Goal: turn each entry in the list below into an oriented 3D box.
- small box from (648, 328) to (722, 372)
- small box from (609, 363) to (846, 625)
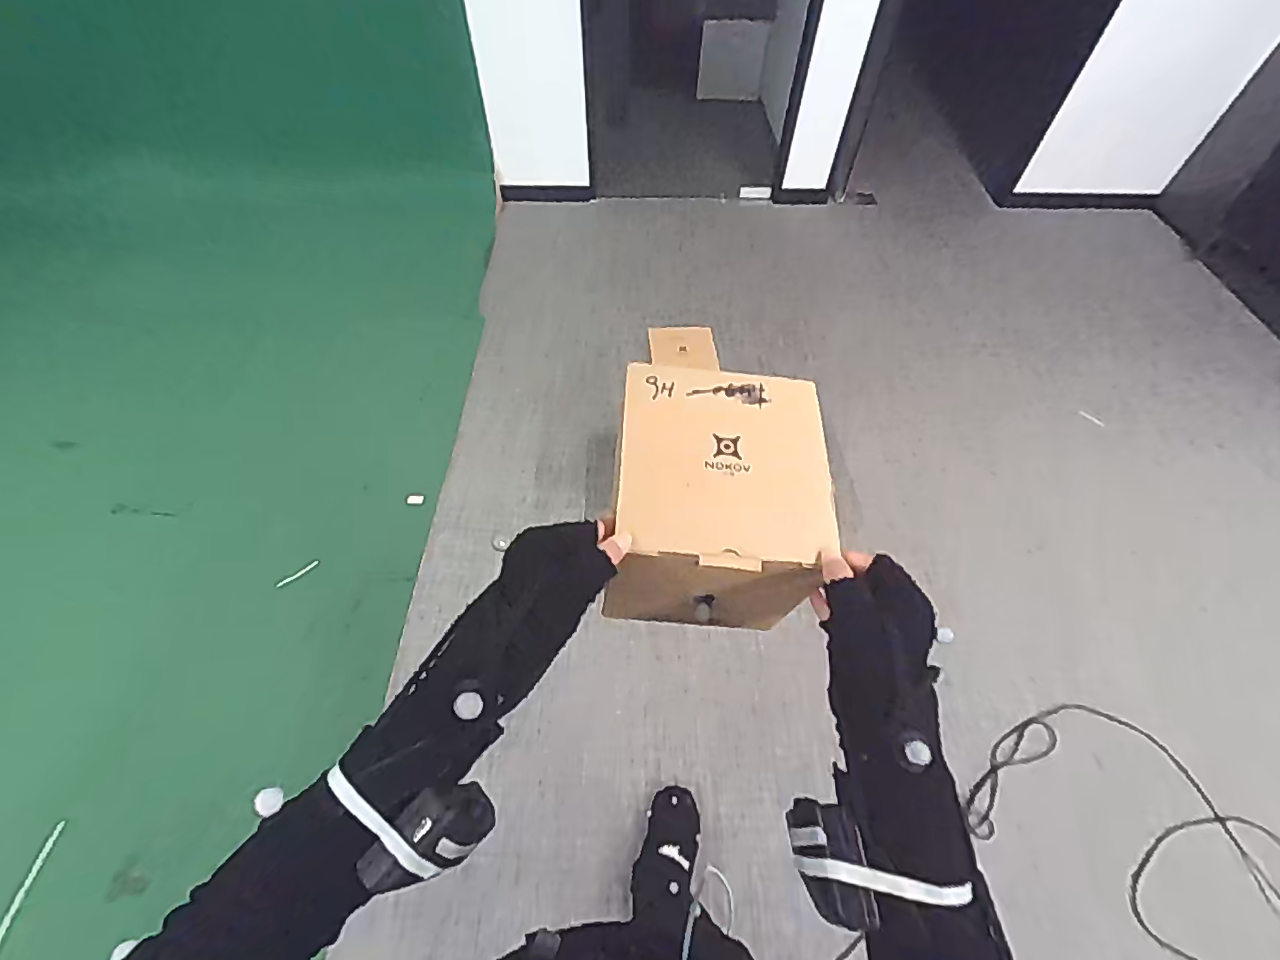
[{"bbox_3d":[0.109,-0.271,1.398,0.168,0.176,0.179,-1,54,-4],"label":"small box"},{"bbox_3d":[0.063,0.023,0.489,0.168,0.176,0.179,6,60,-4],"label":"small box"}]
